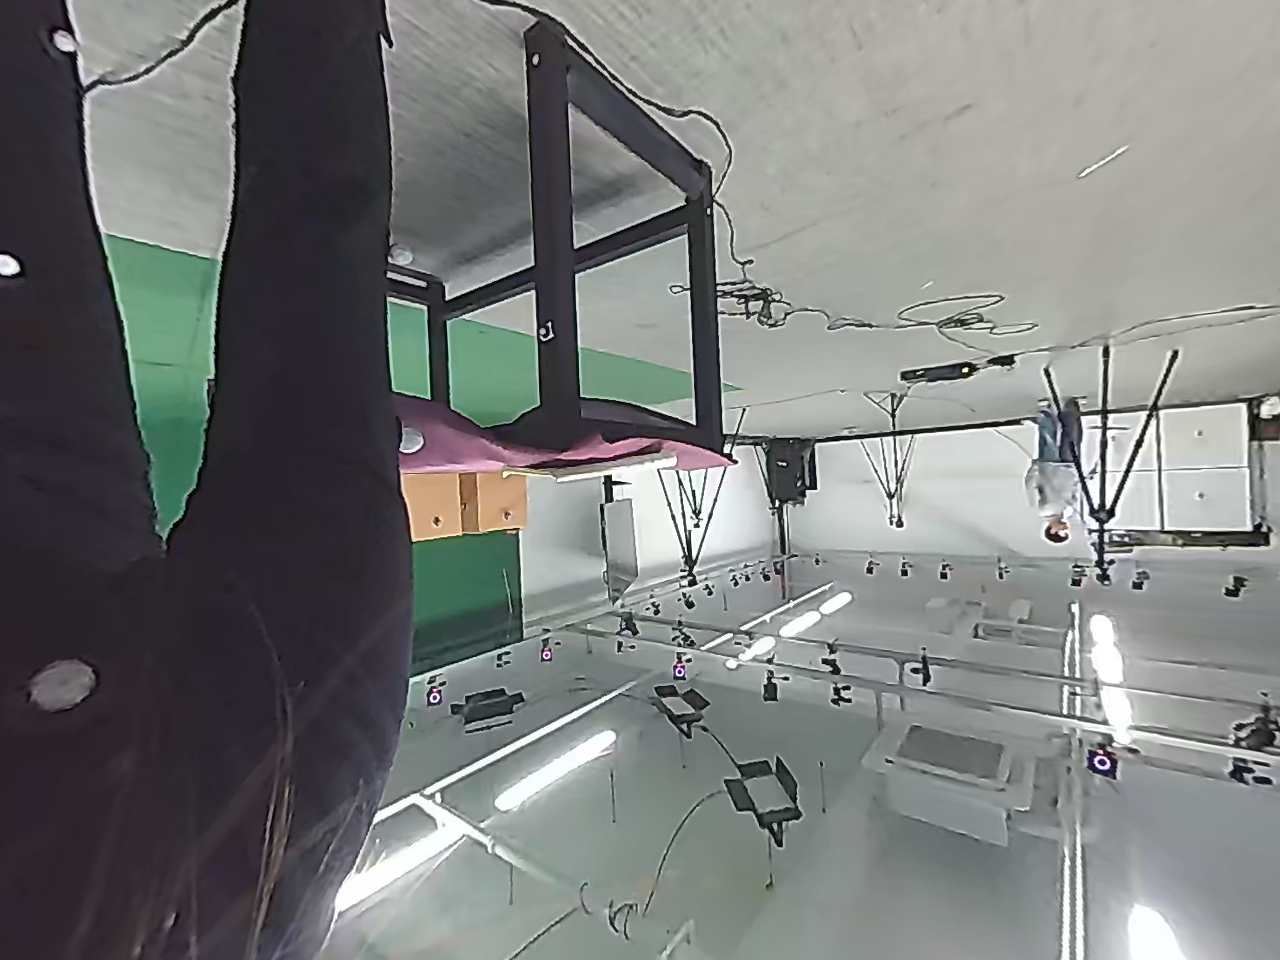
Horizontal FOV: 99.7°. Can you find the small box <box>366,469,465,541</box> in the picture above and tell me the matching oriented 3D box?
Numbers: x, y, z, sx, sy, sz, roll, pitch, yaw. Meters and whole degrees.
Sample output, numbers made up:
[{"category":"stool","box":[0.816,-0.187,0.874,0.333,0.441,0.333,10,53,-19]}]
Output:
[{"category":"small box","box":[-0.569,0.059,1.373,0.168,0.176,0.179,-4,180,32]}]

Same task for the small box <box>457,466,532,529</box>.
[{"category":"small box","box":[-0.436,0.050,1.559,0.168,0.176,0.179,-3,180,37]}]
